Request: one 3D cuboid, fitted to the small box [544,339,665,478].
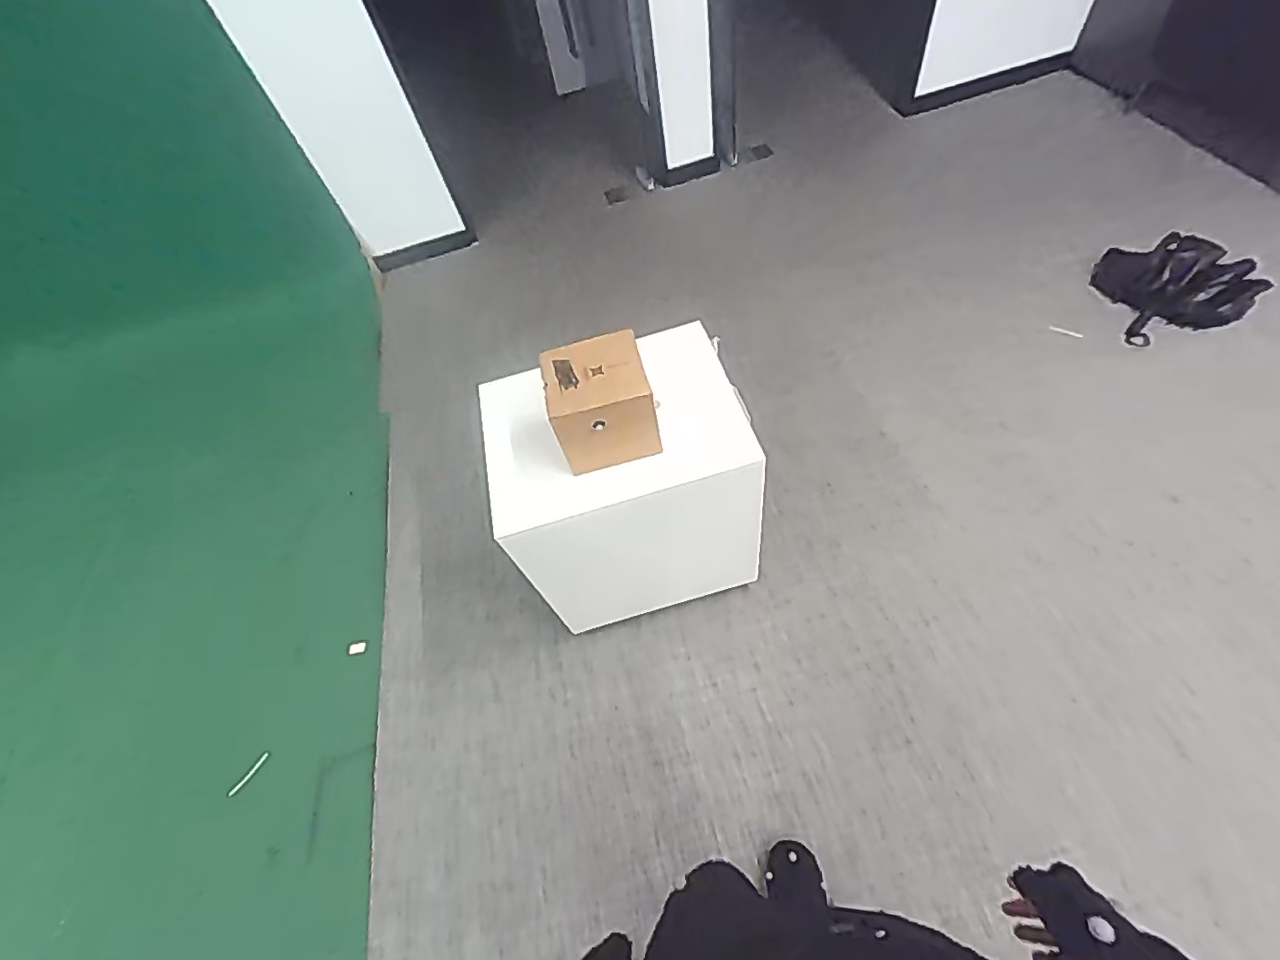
[{"bbox_3d":[-0.063,-0.125,0.998,0.179,0.176,0.168,-14,55,0],"label":"small box"}]
